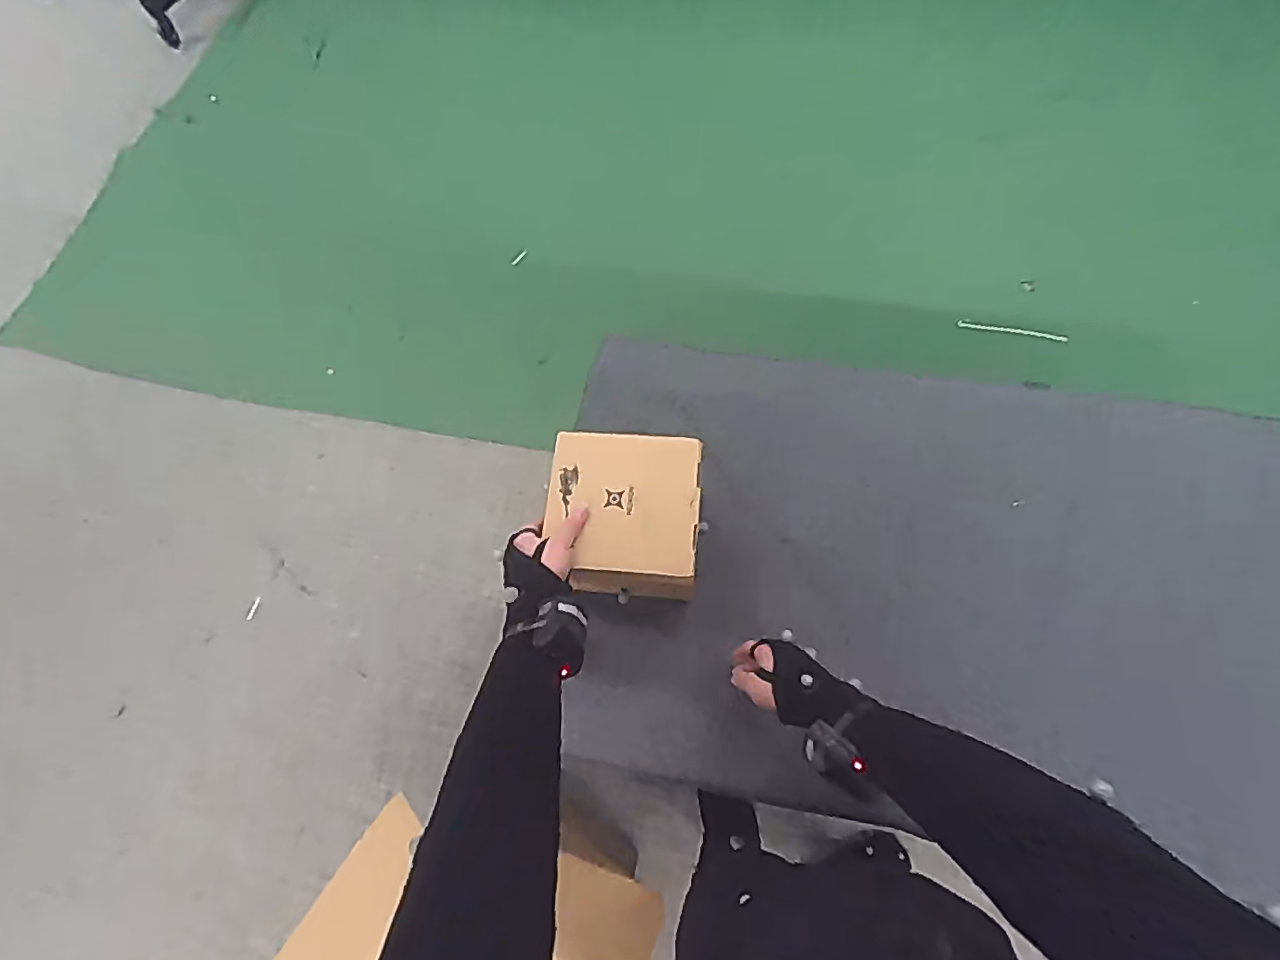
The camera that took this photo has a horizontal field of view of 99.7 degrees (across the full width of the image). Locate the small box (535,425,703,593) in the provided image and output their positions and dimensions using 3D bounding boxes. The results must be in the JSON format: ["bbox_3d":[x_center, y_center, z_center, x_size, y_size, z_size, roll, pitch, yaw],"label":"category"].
[{"bbox_3d":[-0.019,0.046,0.691,0.179,0.176,0.168,5,70,4],"label":"small box"}]
